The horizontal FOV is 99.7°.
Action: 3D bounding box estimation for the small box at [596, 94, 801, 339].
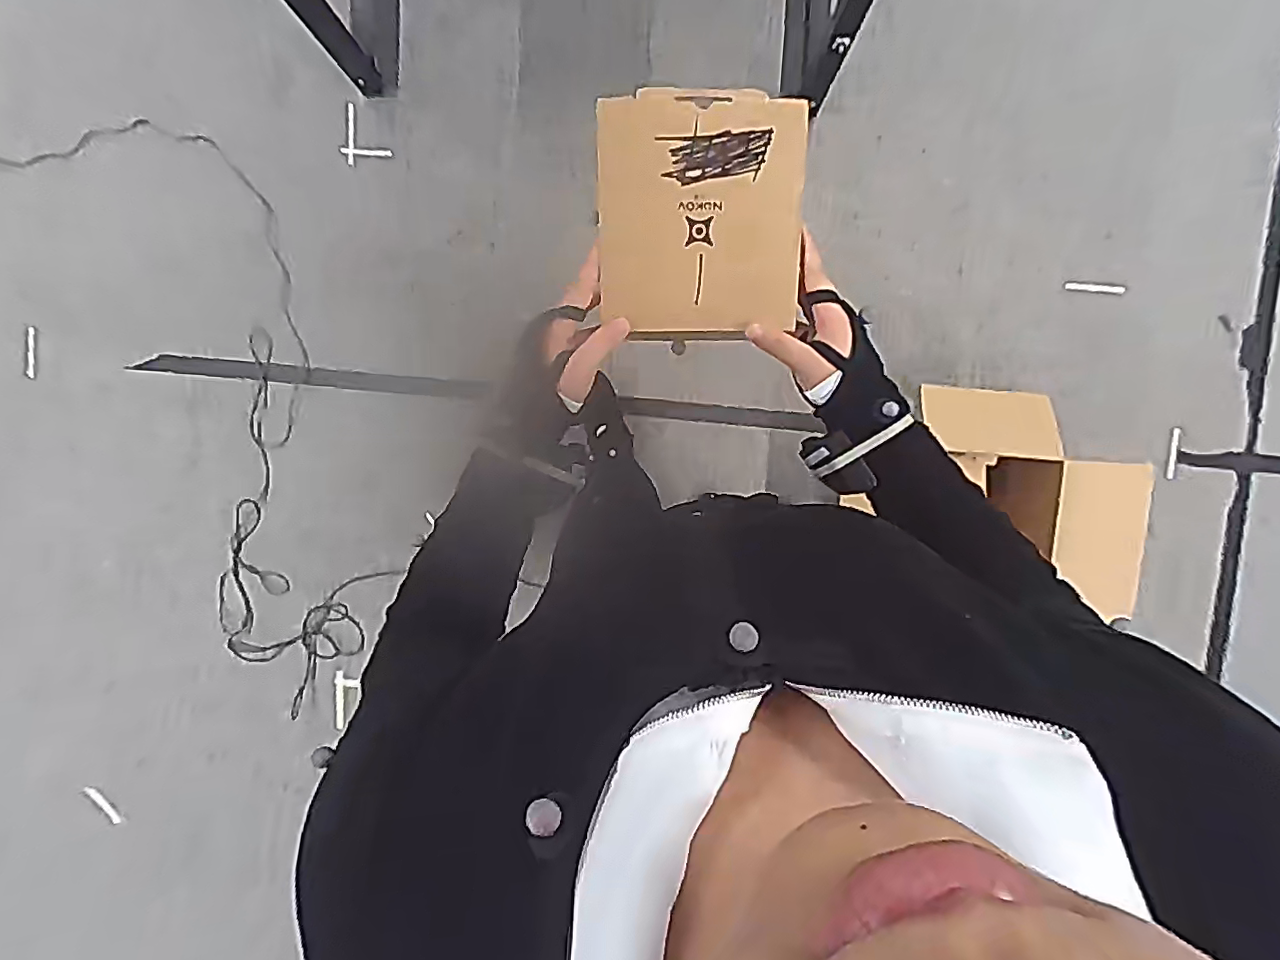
[{"bbox_3d":[0.043,-0.229,0.514,0.168,0.176,0.179,-1,102,-1],"label":"small box"}]
